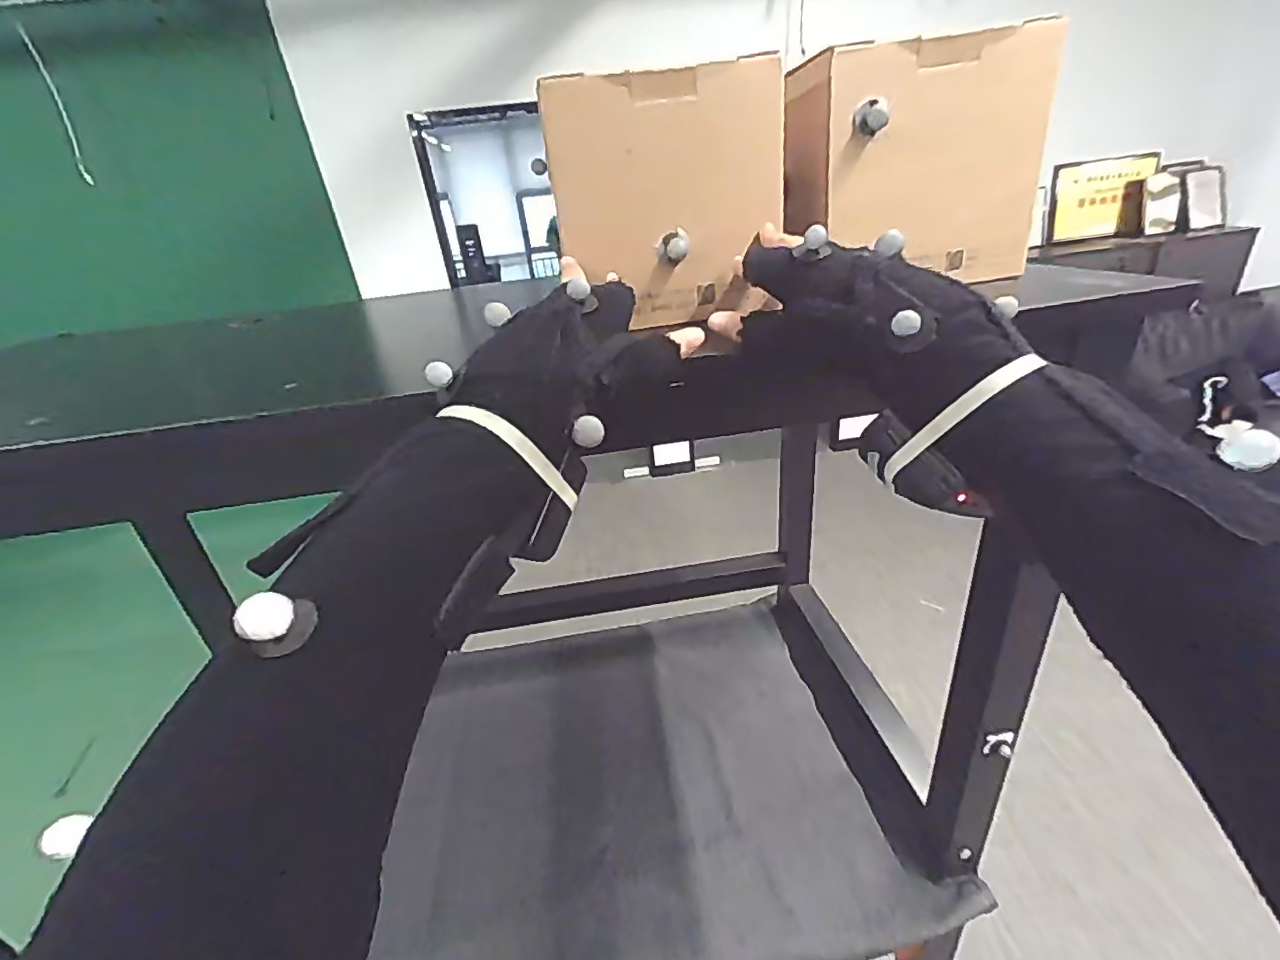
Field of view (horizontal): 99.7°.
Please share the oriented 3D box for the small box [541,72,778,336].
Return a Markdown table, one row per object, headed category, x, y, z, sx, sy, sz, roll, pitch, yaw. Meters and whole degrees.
| category | x | y | z | sx | sy | sz | roll | pitch | yaw |
| --- | --- | --- | --- | --- | --- | --- | --- | --- | --- |
| small box | 0.012 | -0.229 | 0.474 | 0.168 | 0.176 | 0.179 | -9 | 26 | -4 |
